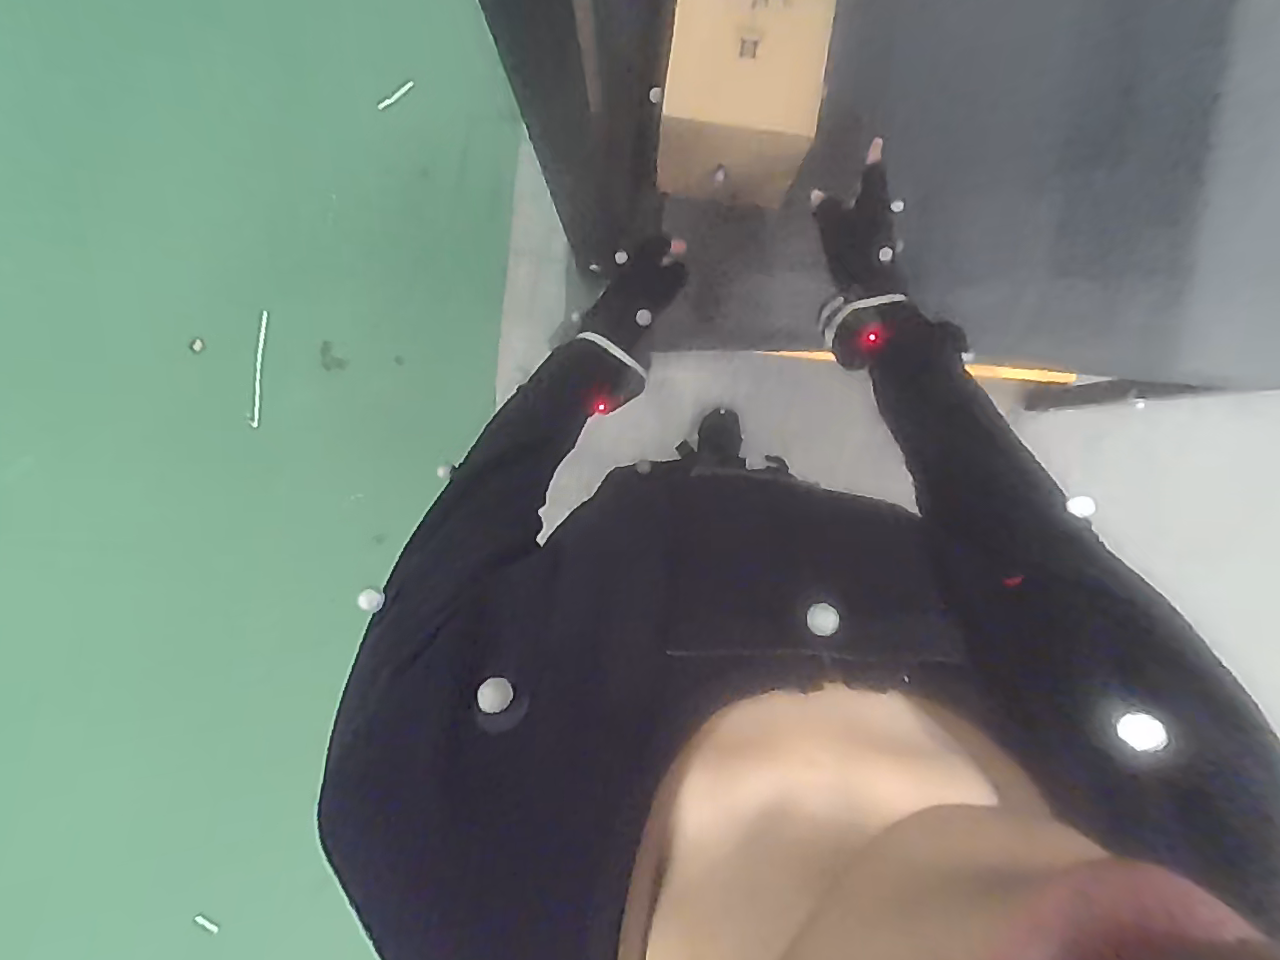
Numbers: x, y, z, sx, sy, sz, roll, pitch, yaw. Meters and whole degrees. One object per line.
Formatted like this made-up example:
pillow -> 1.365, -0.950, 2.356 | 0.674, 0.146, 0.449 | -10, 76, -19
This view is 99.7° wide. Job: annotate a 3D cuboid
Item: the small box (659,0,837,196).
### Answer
small box -> 0.115, -0.462, 0.632 | 0.168, 0.176, 0.179 | 8, 93, 0
